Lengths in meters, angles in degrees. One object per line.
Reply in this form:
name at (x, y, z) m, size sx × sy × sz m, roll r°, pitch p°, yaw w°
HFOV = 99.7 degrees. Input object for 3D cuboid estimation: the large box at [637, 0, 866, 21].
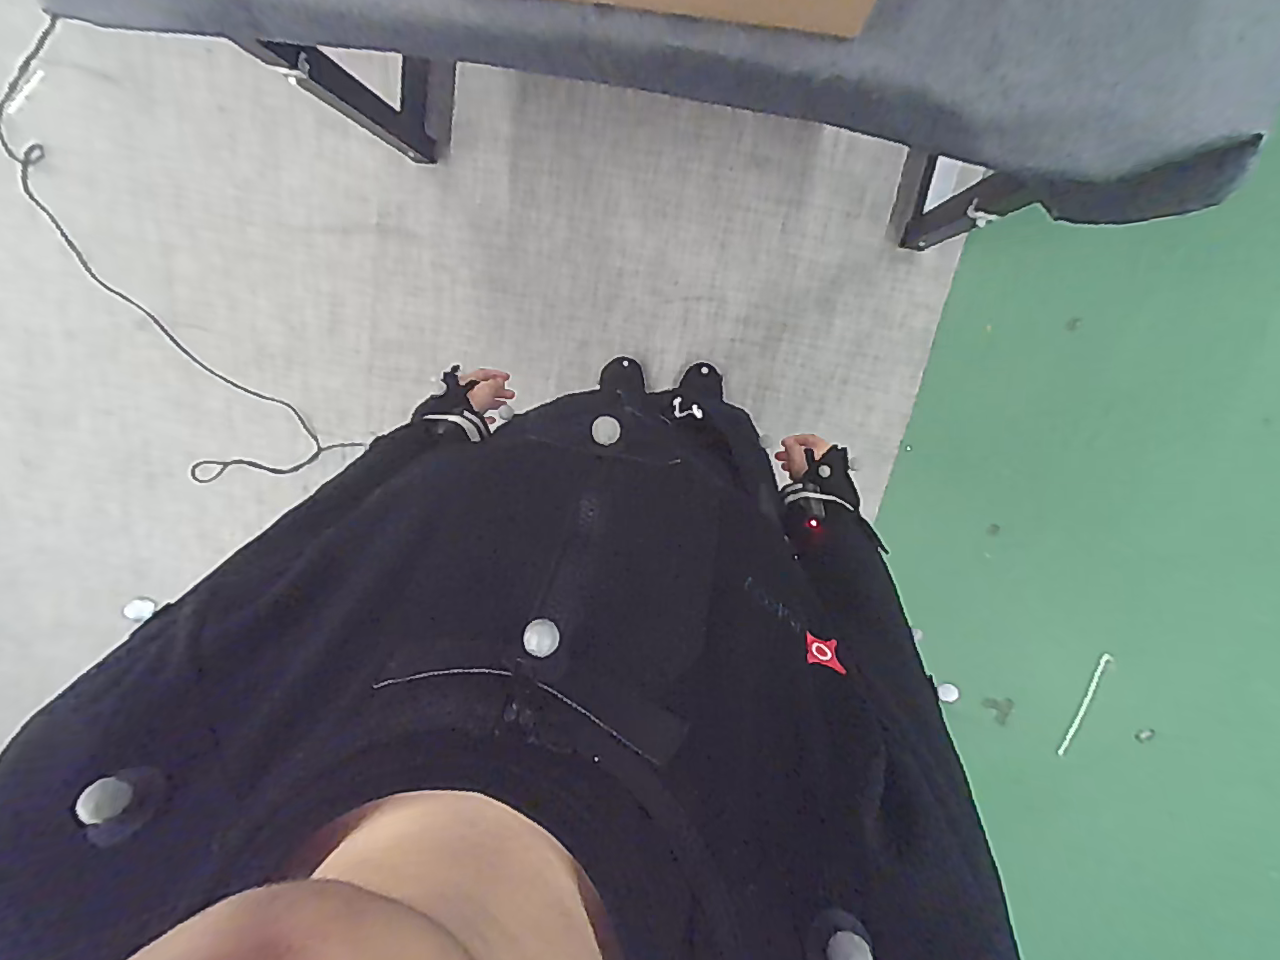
large box at (0.017, -0.569, 0.338) m, size 0.408 × 0.320 × 0.320 m, roll 9°, pitch 103°, yaw 2°
